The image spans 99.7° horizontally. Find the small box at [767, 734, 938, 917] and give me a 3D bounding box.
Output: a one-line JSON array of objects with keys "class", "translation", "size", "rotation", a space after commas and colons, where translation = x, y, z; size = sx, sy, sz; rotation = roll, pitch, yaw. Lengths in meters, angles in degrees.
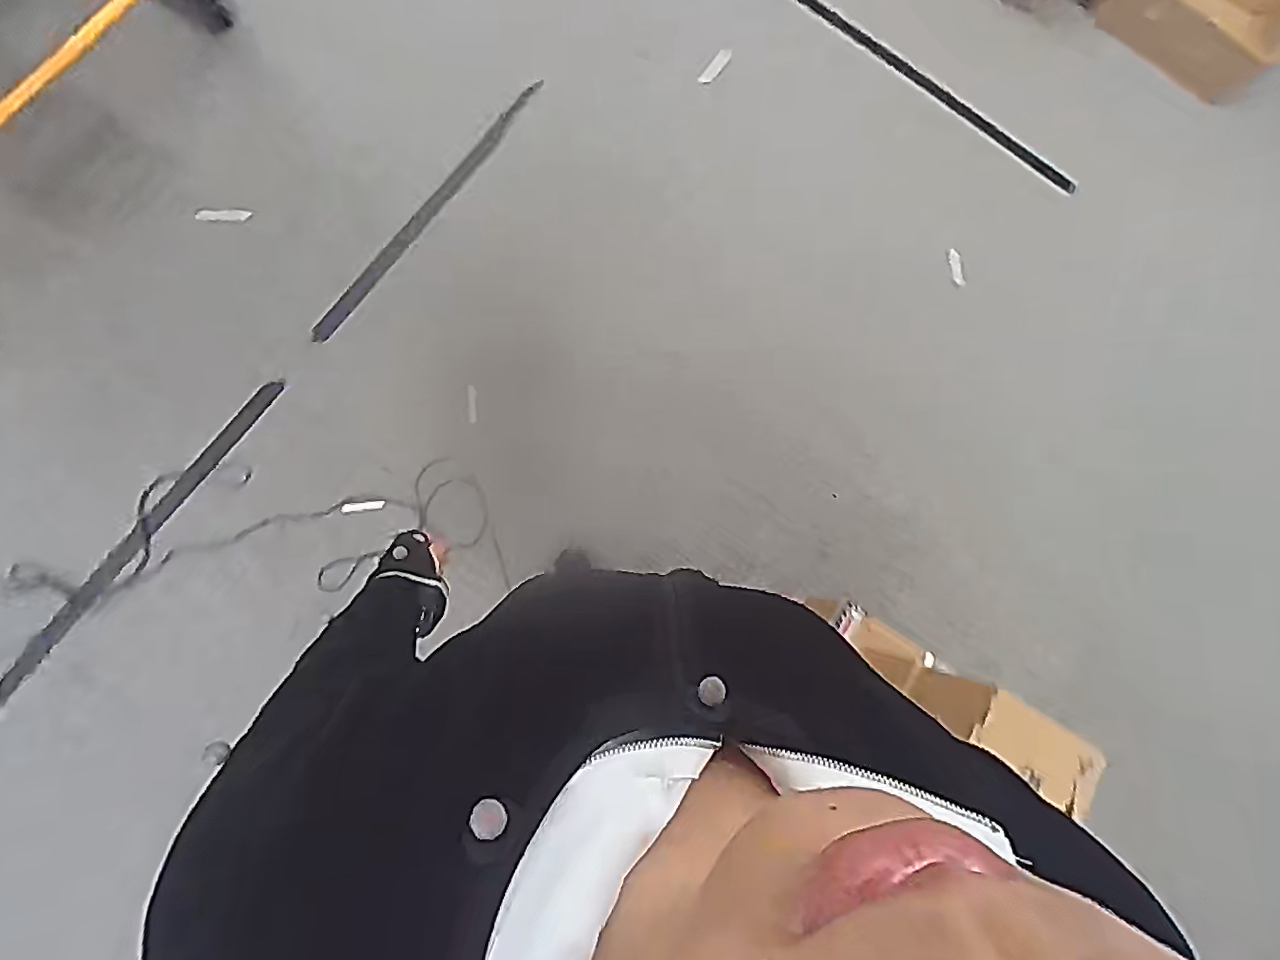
[{"class": "small box", "translation": [0.348, 0.567, 0.918], "size": [0.179, 0.176, 0.168], "rotation": [35, 81, 1]}]

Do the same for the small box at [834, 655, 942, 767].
[{"class": "small box", "translation": [0.480, 0.428, 0.951], "size": [0.179, 0.176, 0.168], "rotation": [32, 79, 2]}]

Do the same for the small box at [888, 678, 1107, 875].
[{"class": "small box", "translation": [0.504, 0.411, 0.789], "size": [0.179, 0.176, 0.168], "rotation": [34, 79, 2]}]
